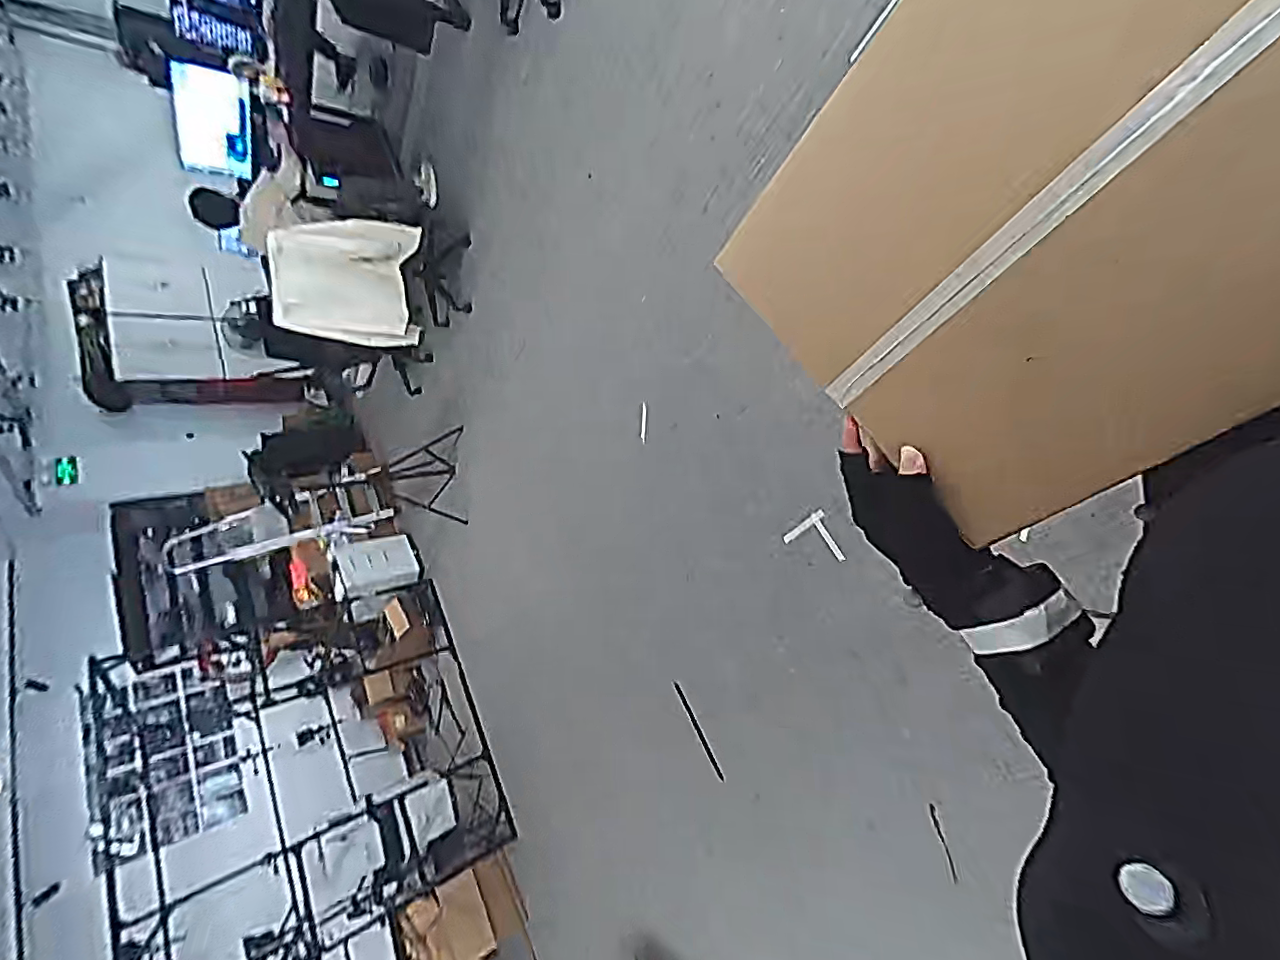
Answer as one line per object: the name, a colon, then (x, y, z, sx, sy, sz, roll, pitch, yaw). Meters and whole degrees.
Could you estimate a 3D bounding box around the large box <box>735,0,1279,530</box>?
large box: (0.357, -0.231, 0.412, 0.320, 0.320, 0.408, 52, 135, 10)
